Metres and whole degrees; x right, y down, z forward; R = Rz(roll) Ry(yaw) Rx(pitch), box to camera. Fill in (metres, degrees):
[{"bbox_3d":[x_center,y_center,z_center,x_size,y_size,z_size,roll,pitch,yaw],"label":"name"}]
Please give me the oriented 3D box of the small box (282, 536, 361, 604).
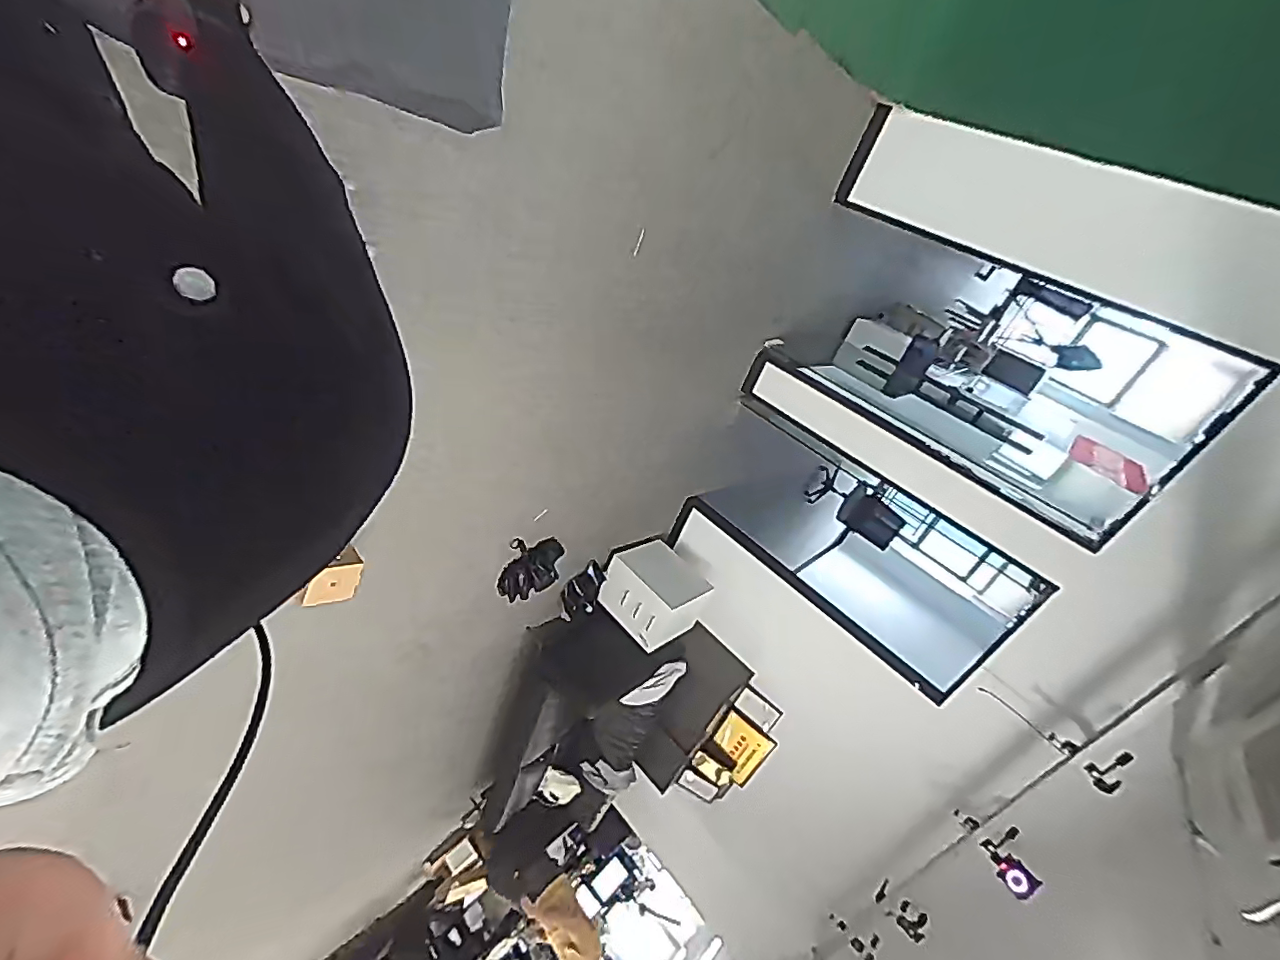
[{"bbox_3d":[-1.144,0.315,1.939,0.179,0.176,0.168,-1,124,-55],"label":"small box"}]
